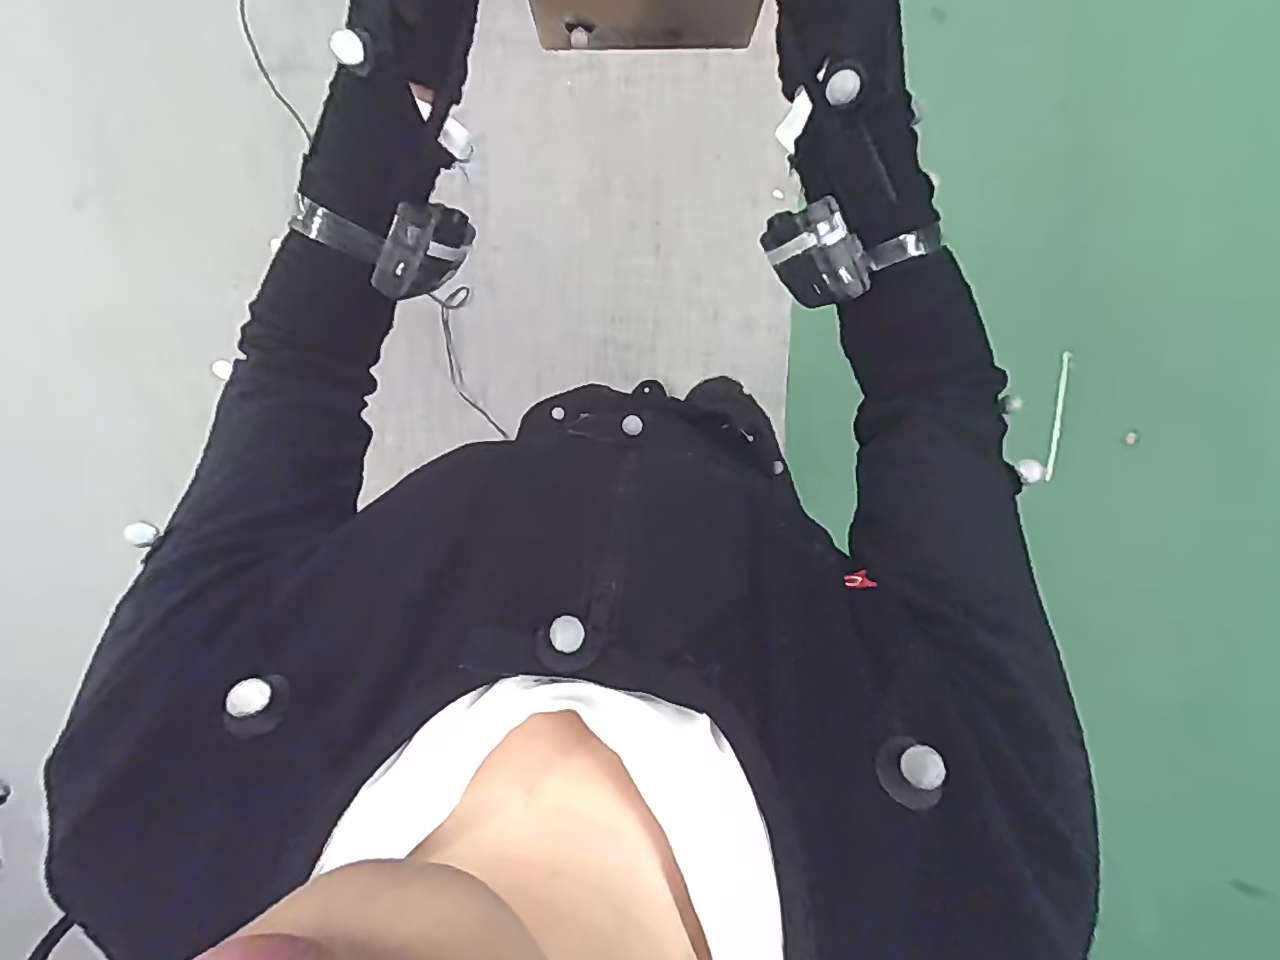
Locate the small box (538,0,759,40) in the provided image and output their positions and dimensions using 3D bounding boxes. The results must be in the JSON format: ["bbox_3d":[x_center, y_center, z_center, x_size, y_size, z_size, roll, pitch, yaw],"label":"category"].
[{"bbox_3d":[0.006,-0.413,0.332,0.168,0.176,0.179,-1,98,0],"label":"small box"}]
